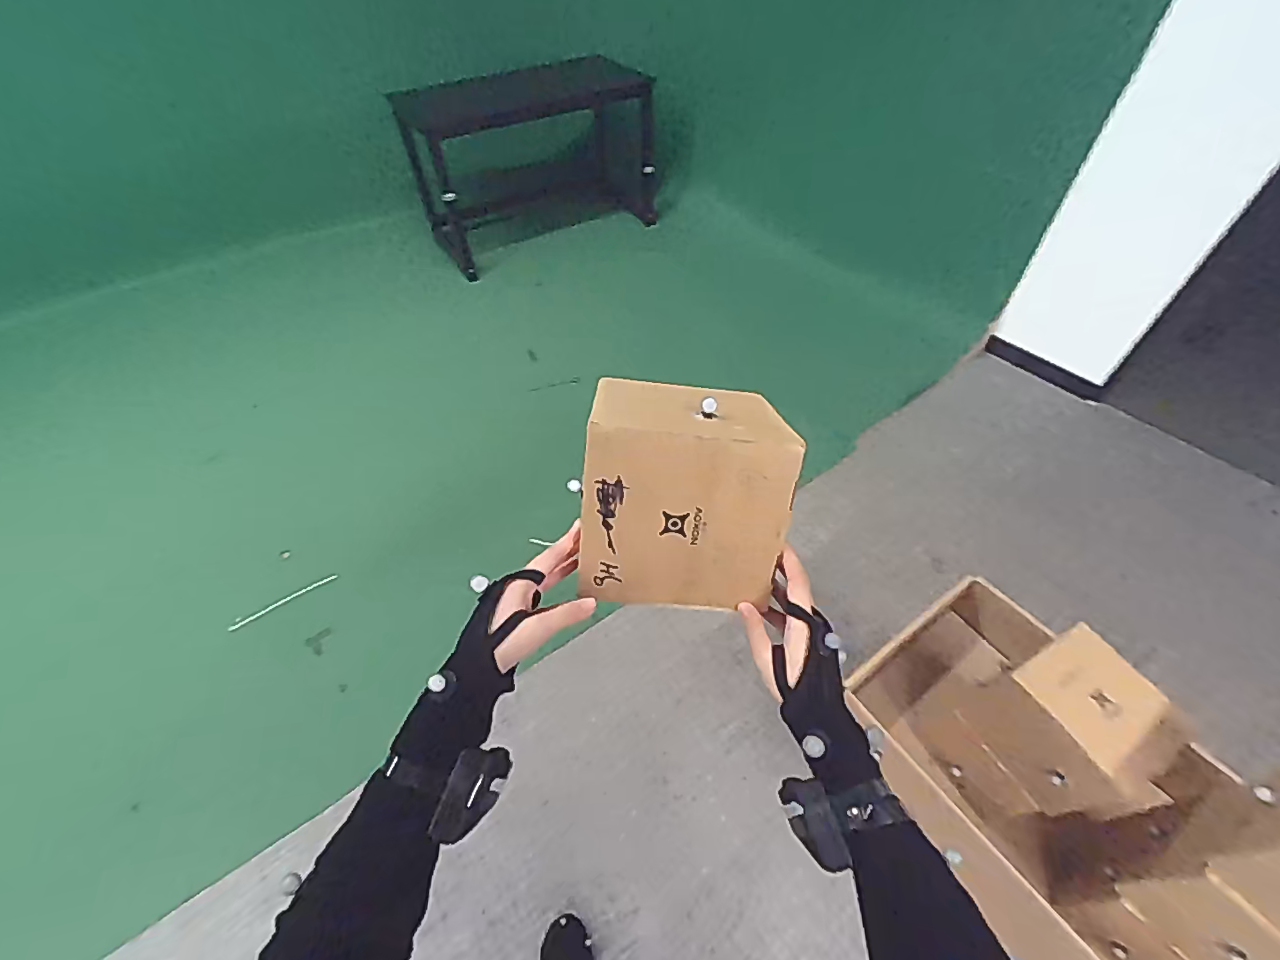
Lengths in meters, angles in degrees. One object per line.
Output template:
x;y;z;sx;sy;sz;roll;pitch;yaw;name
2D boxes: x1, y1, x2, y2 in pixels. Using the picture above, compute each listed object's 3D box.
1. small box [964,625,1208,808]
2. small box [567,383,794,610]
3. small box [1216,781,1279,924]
0.627;0.349;0.786;0.168;0.176;0.179;-23;55;-18;small box
0.026;0.006;0.528;0.179;0.168;0.176;5;21;-4;small box
0.751;0.398;0.524;0.168;0.176;0.179;-26;53;-18;small box
